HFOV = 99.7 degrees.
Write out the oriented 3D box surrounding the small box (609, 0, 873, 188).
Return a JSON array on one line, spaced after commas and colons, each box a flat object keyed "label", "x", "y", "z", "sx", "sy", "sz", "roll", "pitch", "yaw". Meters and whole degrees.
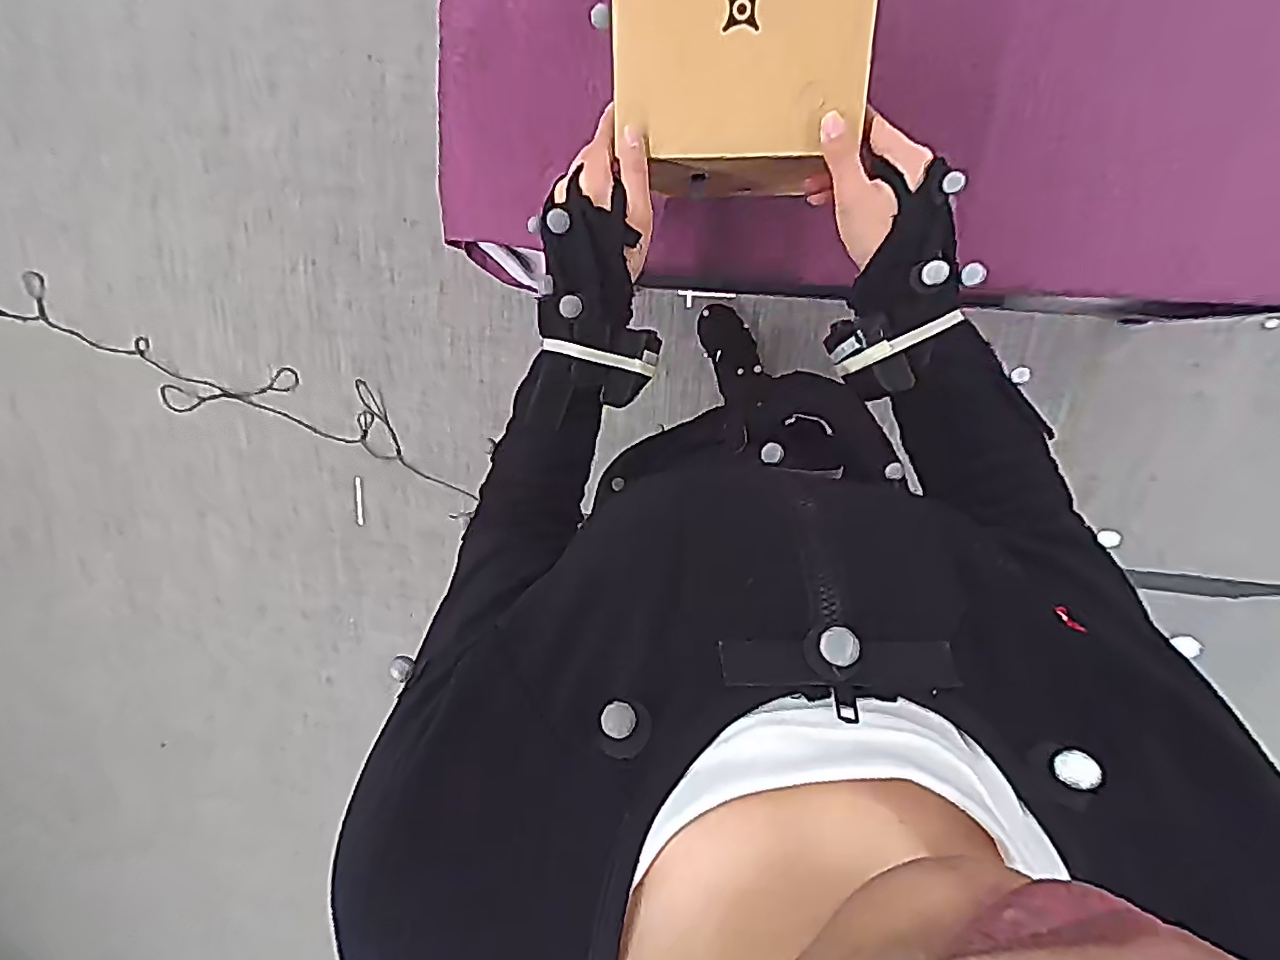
[{"label": "small box", "x": 0.069, "y": -0.329, "z": 0.408, "sx": 0.168, "sy": 0.176, "sz": 0.179, "roll": 1, "pitch": 108, "yaw": 4}]
